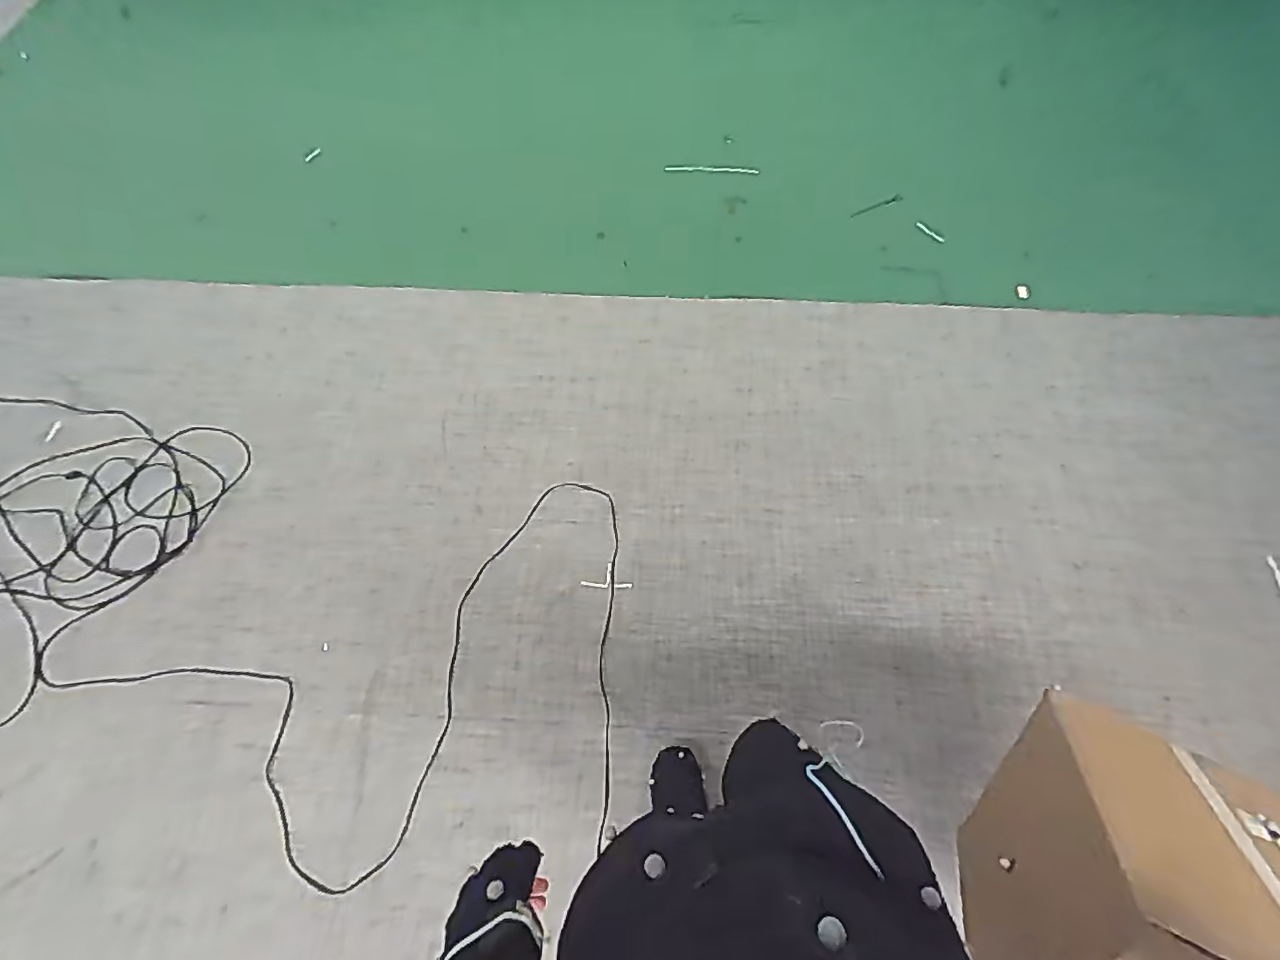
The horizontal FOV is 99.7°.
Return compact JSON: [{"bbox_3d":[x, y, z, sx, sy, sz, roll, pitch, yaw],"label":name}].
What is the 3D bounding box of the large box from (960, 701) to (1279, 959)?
[{"bbox_3d":[0.619,0.558,0.637,0.320,0.408,0.320,24,109,21],"label":"large box"}]
